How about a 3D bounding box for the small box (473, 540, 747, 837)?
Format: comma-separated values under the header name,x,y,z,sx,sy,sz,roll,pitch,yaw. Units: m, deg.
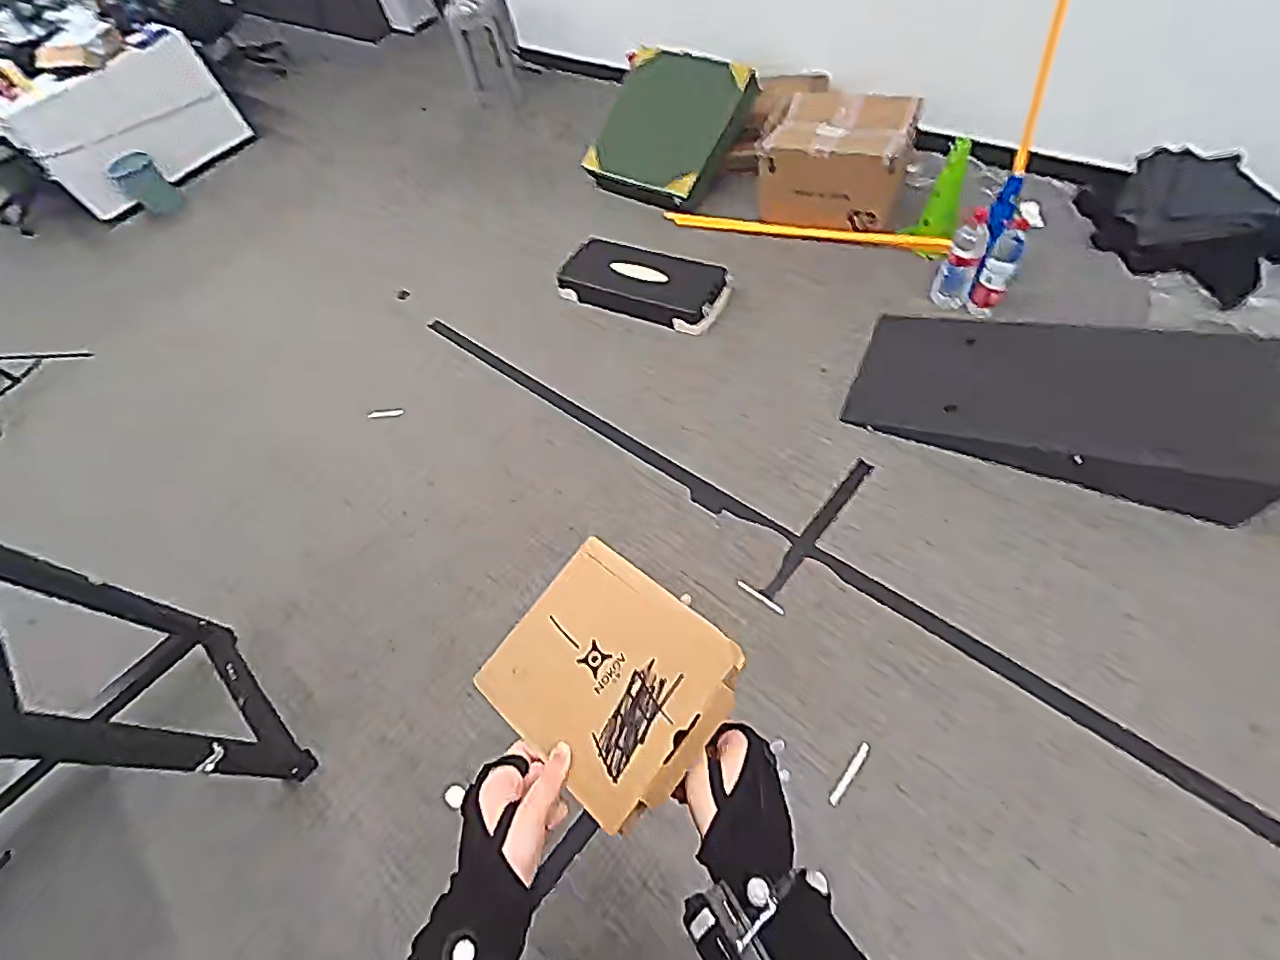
name,x,y,z,sx,sy,sz,roll,pitch,yaw
small box,-0.014,0.189,0.518,0.179,0.176,0.168,35,77,22
